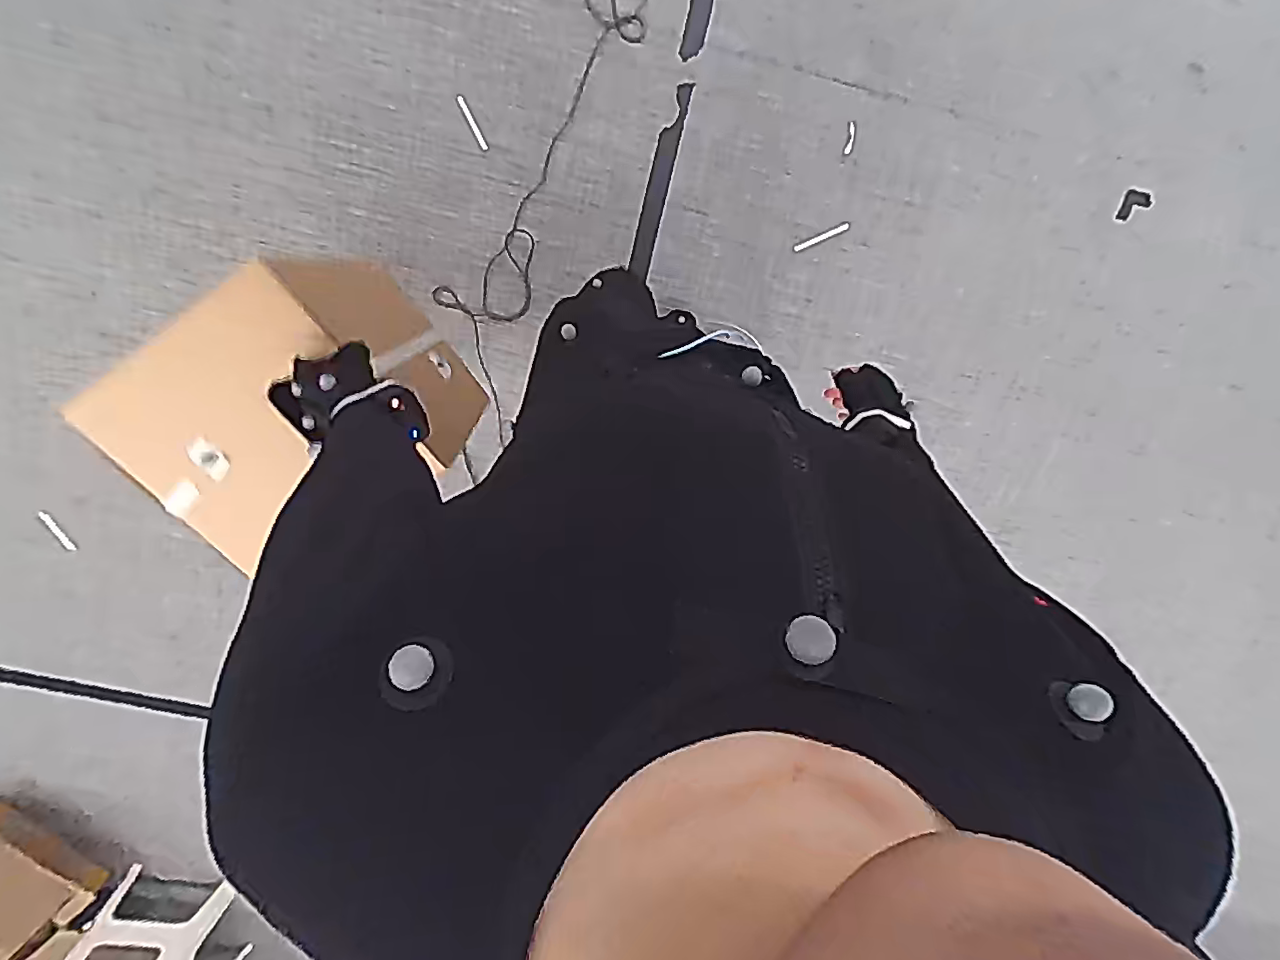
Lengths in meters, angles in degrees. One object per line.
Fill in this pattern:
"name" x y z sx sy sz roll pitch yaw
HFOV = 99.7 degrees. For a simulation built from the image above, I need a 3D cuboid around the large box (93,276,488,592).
"large box" -0.490 -0.102 0.870 0.320 0.408 0.320 -35 110 6
